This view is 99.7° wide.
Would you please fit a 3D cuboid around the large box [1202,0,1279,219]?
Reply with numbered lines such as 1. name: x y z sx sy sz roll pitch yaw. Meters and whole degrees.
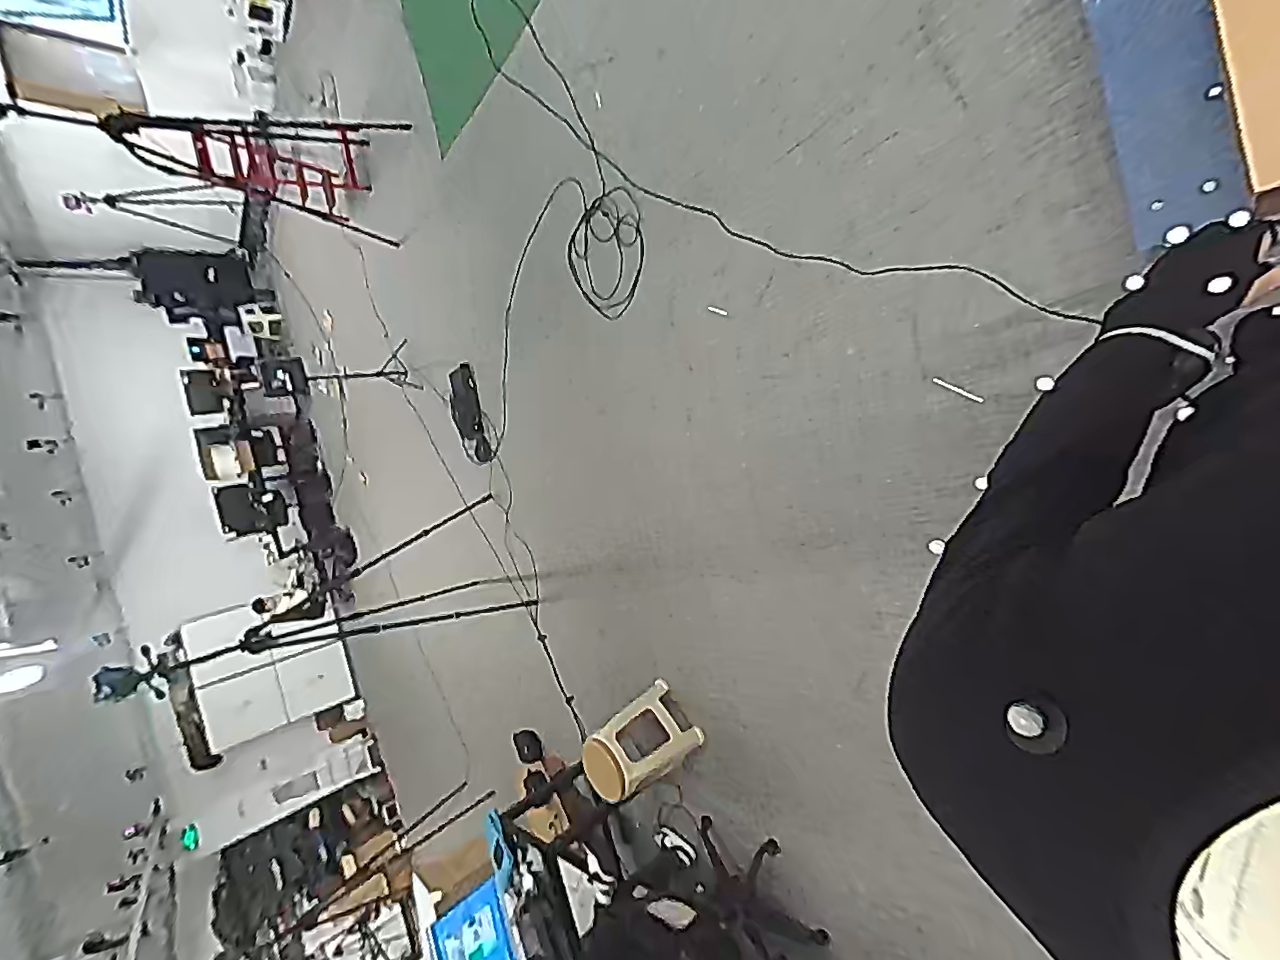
1. large box: 1.025 -0.642 0.741 0.320 0.320 0.408 -12 91 48
